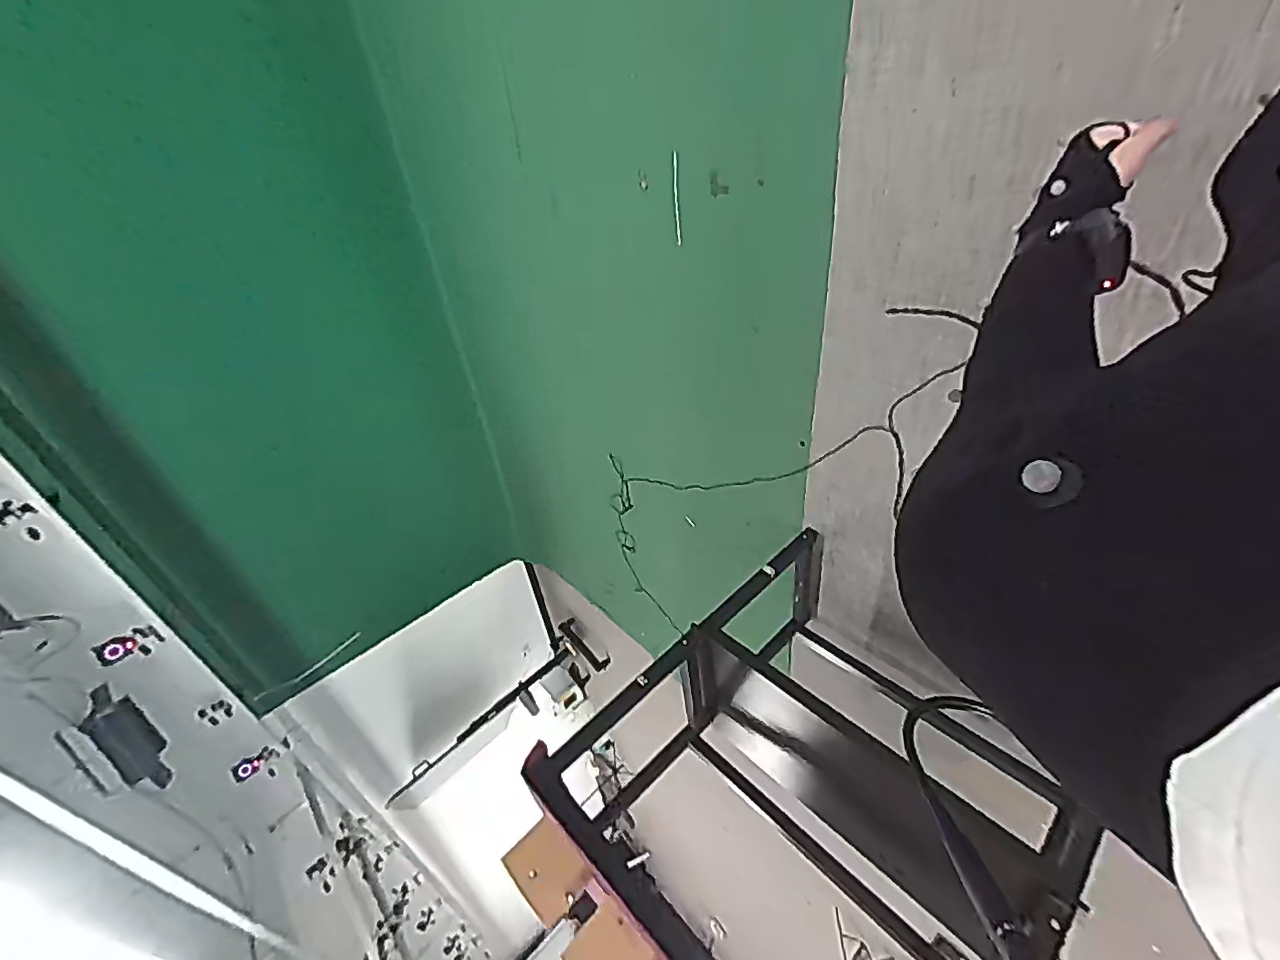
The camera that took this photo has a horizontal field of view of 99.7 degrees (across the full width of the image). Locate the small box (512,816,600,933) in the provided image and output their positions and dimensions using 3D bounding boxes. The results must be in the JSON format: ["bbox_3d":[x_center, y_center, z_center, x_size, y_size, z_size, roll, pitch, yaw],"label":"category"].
[{"bbox_3d":[-0.222,1.082,1.491,0.179,0.176,0.168,31,140,37],"label":"small box"}]
